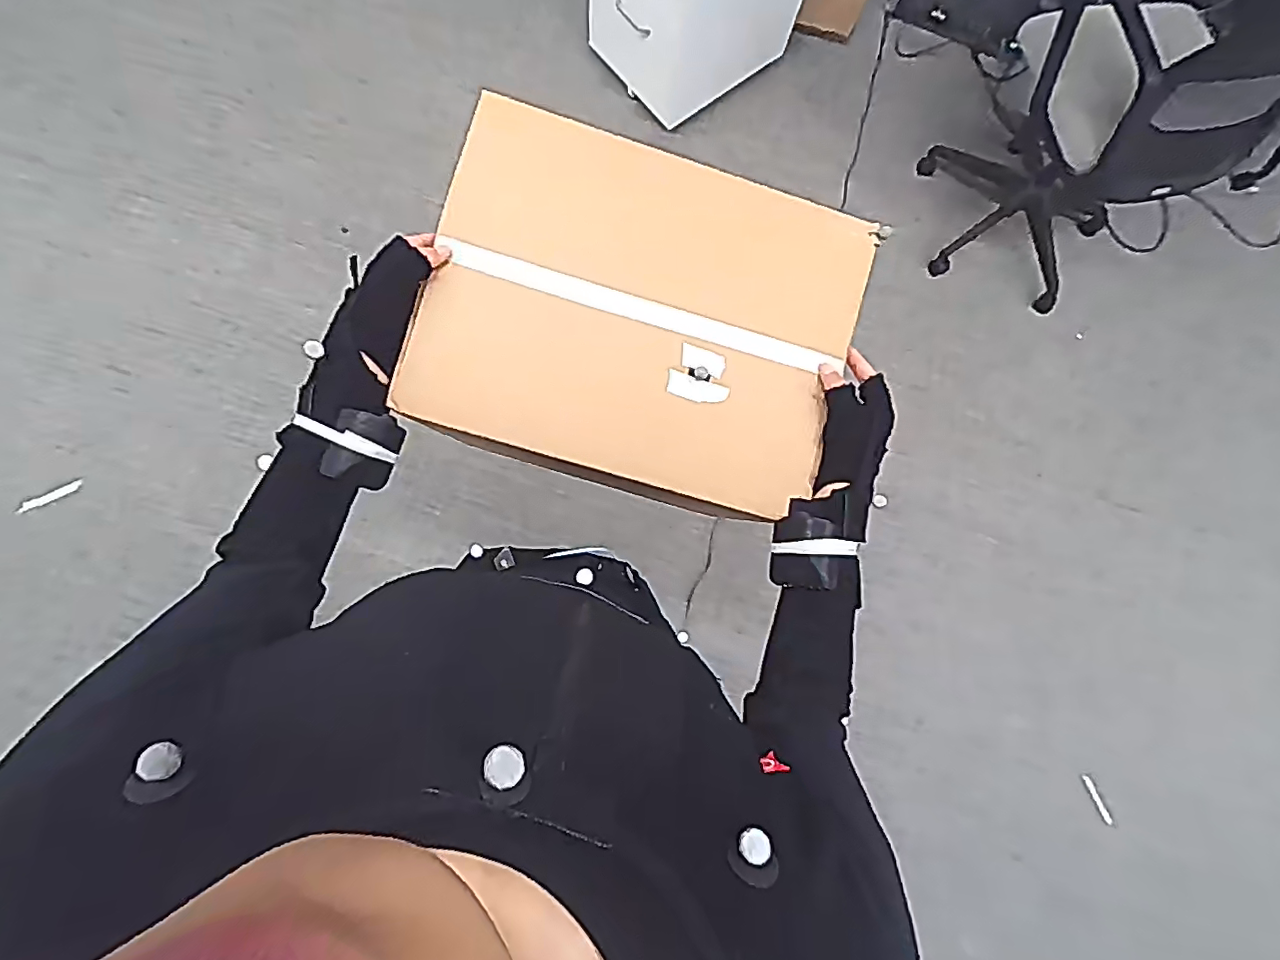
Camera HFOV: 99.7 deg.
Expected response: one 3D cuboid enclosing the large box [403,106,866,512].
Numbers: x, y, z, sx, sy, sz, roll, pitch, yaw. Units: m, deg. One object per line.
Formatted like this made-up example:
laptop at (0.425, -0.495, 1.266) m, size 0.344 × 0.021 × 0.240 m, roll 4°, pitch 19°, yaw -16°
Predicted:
large box at (-0.013, -0.158, 0.674) m, size 0.408 × 0.320 × 0.320 m, roll 16°, pitch 87°, yaw -6°
